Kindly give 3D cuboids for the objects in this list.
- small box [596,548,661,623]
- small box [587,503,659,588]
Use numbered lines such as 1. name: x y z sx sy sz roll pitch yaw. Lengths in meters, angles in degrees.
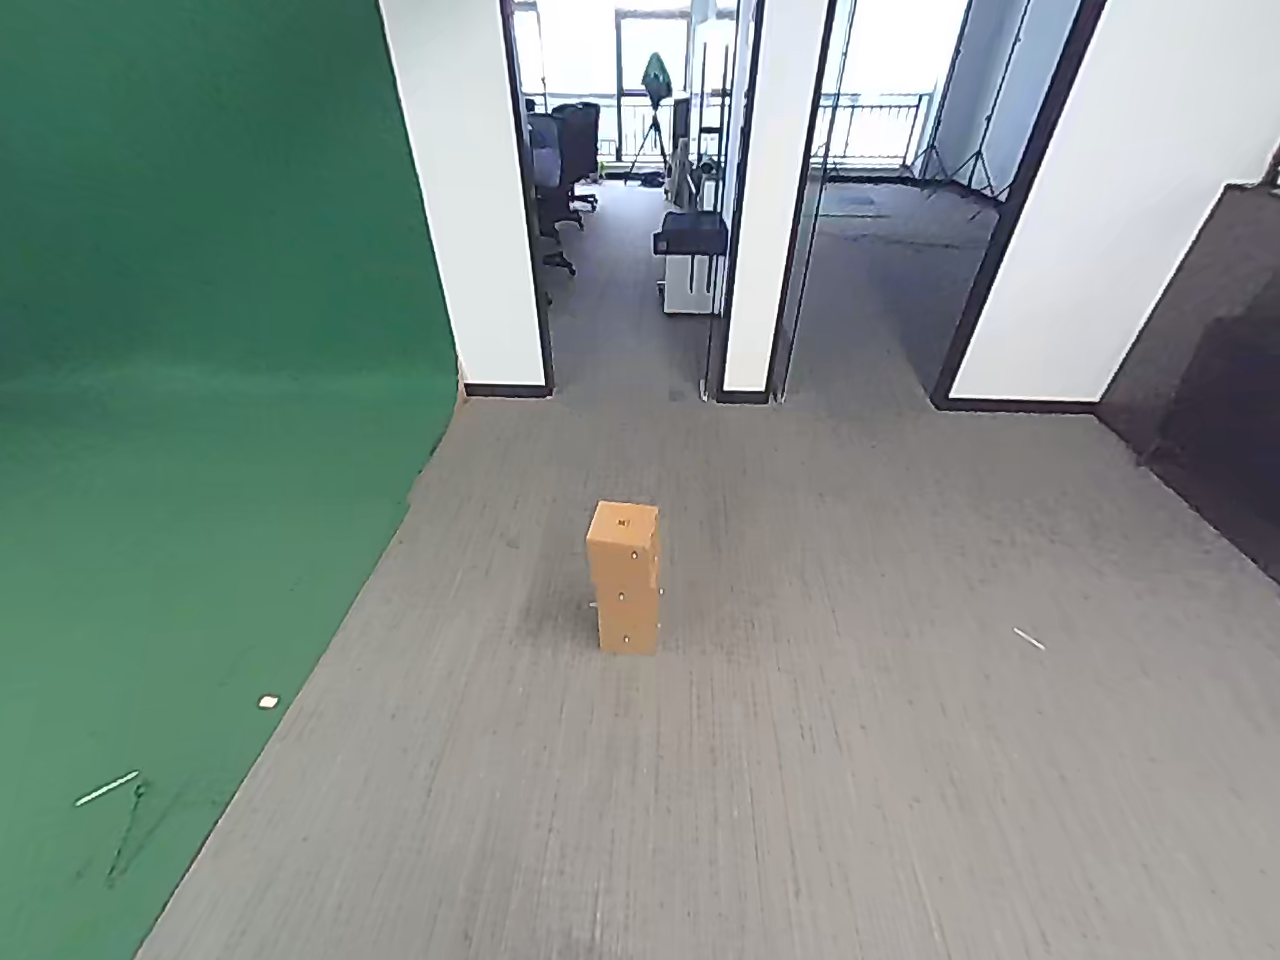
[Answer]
1. small box: -0.031 0.317 1.645 0.179 0.176 0.168 4 39 6
2. small box: -0.044 0.188 1.545 0.179 0.176 0.168 6 38 8
